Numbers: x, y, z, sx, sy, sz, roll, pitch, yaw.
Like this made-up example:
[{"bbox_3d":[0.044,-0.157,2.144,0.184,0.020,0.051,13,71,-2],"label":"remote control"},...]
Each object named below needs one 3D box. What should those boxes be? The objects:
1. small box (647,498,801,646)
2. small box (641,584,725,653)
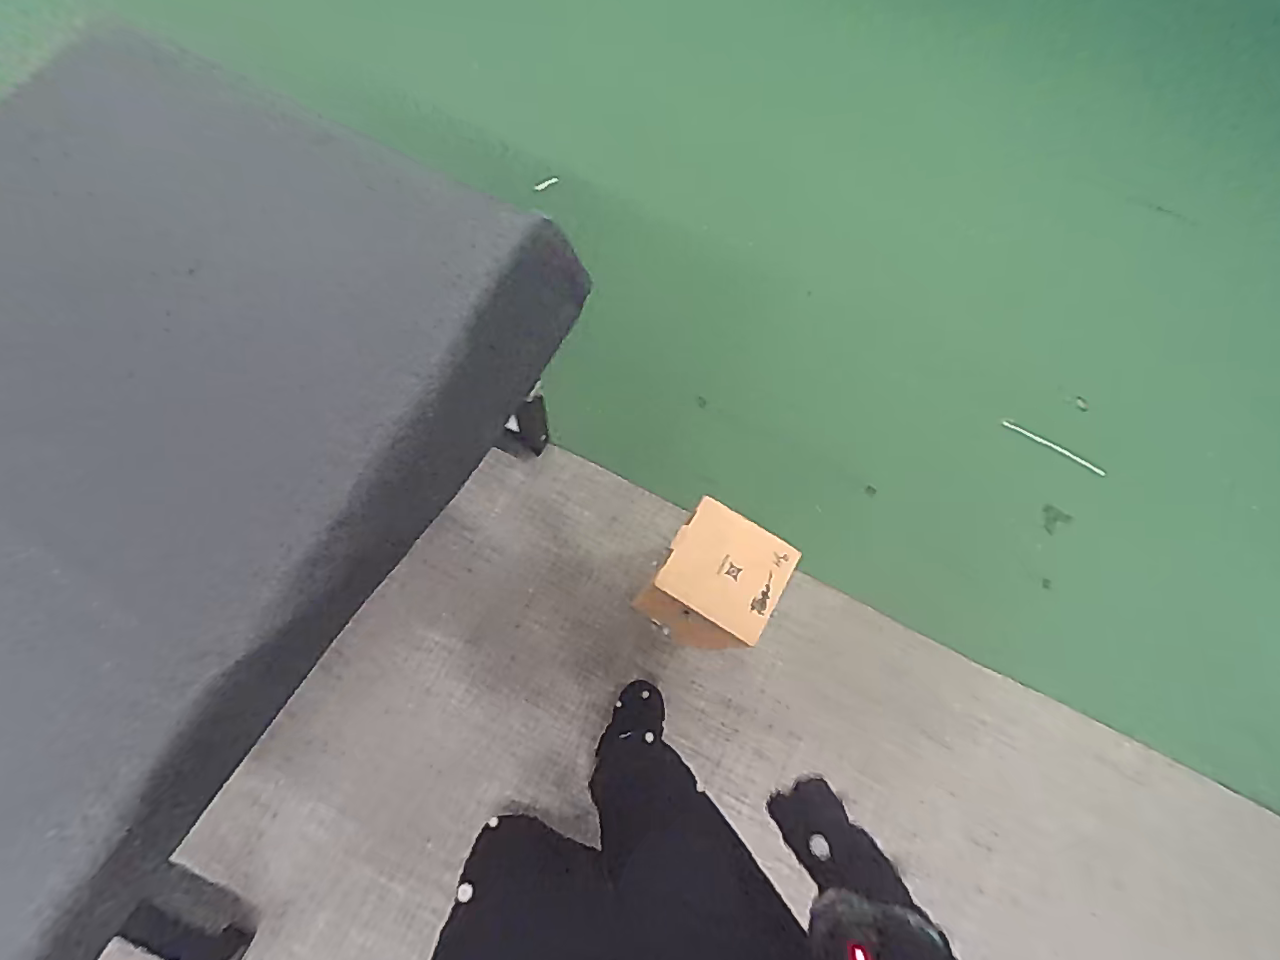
[{"bbox_3d":[0.126,0.161,0.889,0.179,0.176,0.168,32,72,6],"label":"small box"},{"bbox_3d":[0.114,0.213,1.043,0.168,0.176,0.179,34,73,6],"label":"small box"}]
